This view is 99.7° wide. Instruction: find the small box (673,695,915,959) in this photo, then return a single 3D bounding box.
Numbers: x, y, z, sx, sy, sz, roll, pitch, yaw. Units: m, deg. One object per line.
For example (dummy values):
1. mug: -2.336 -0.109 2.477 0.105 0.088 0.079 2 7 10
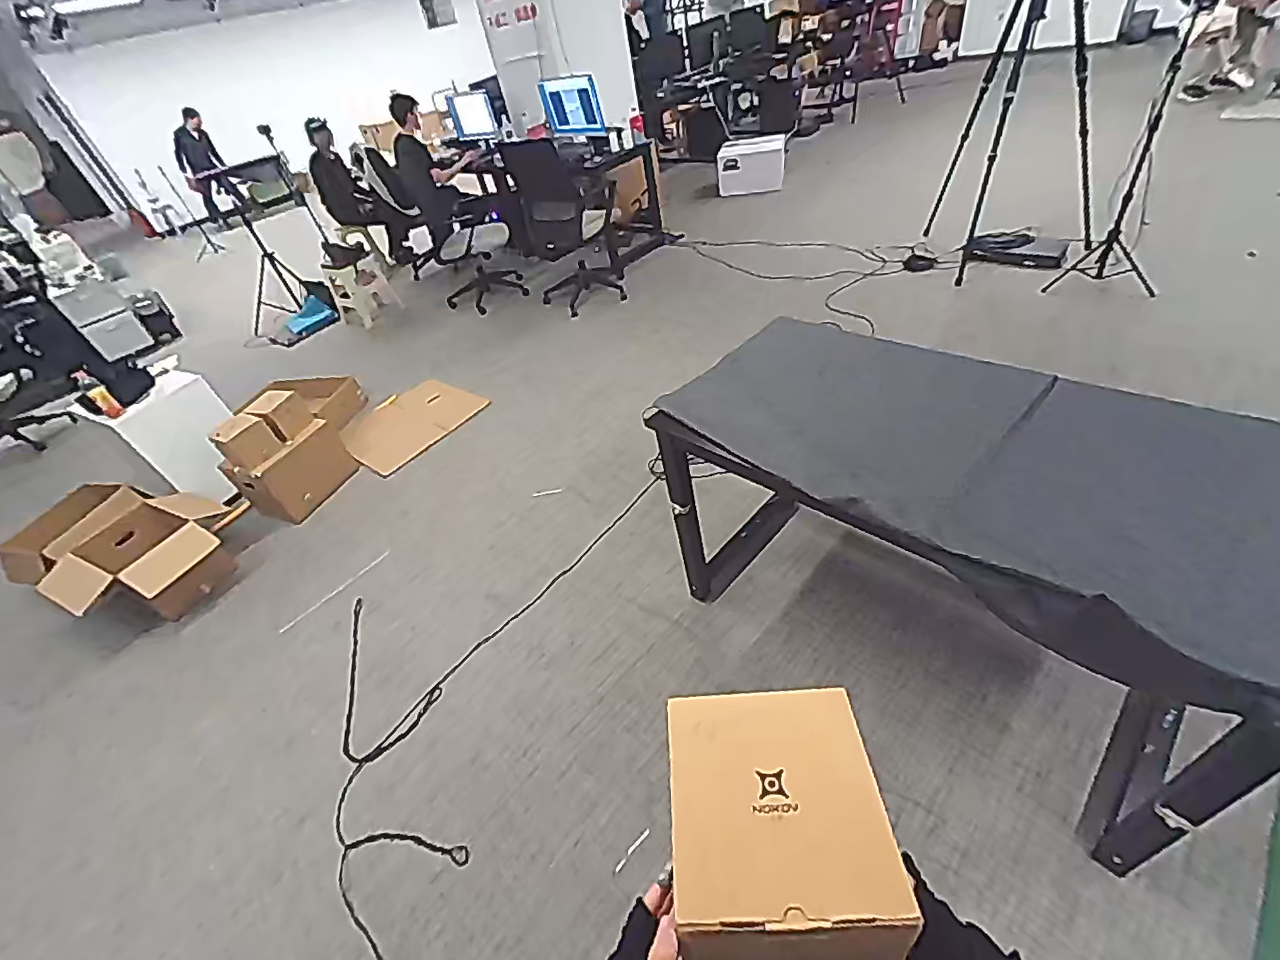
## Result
1. small box: 0.117 0.323 0.487 0.168 0.176 0.179 -5 35 4
